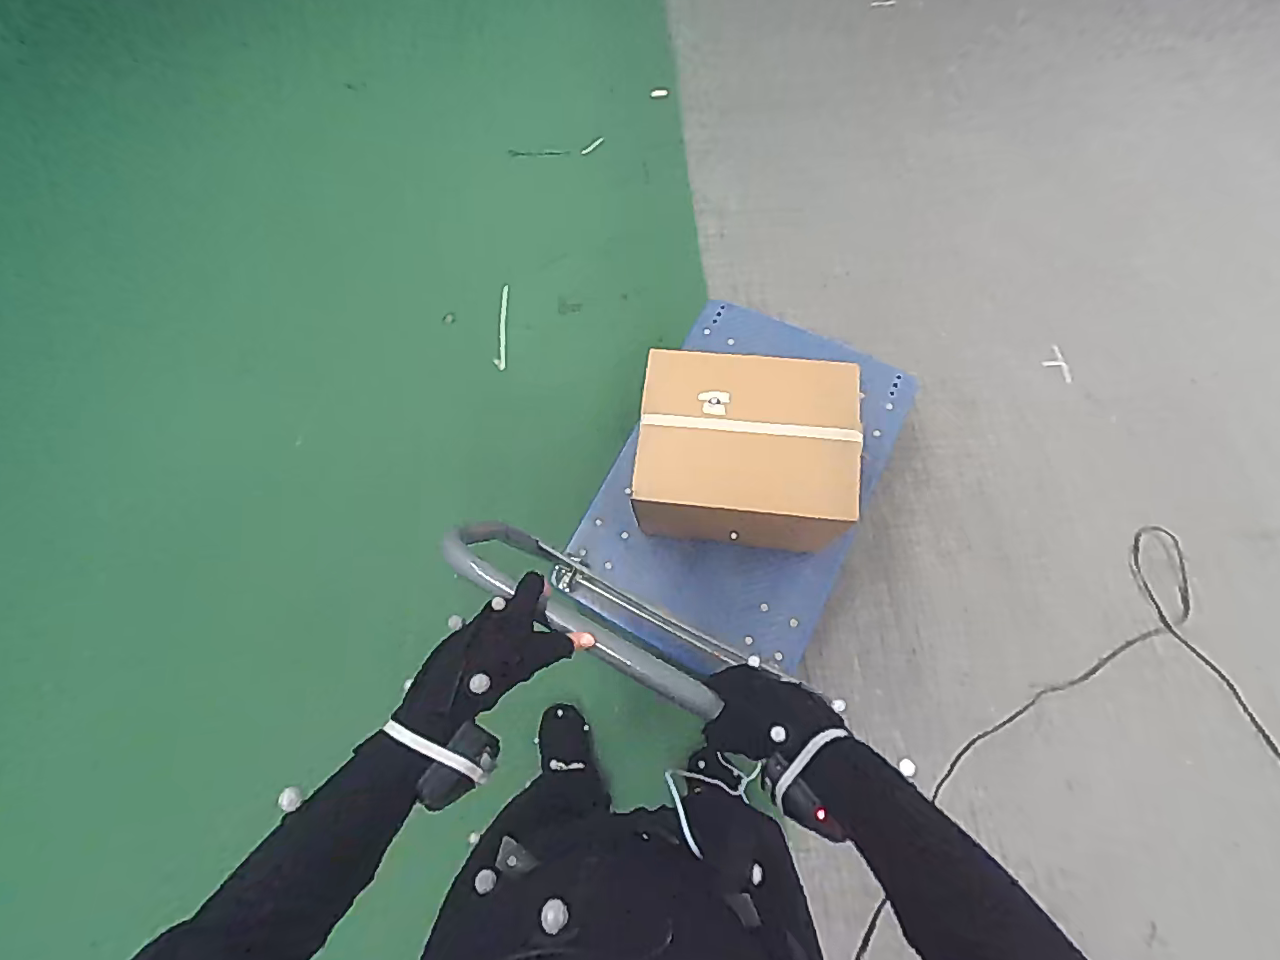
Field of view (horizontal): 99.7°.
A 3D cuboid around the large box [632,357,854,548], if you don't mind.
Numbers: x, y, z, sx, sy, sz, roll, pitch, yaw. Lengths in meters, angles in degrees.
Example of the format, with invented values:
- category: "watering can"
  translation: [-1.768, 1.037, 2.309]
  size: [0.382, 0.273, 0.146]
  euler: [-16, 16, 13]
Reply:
- category: "large box"
  translation: [0.213, -0.044, 1.159]
  size: [0.408, 0.320, 0.320]
  euler: [5, 72, 7]
